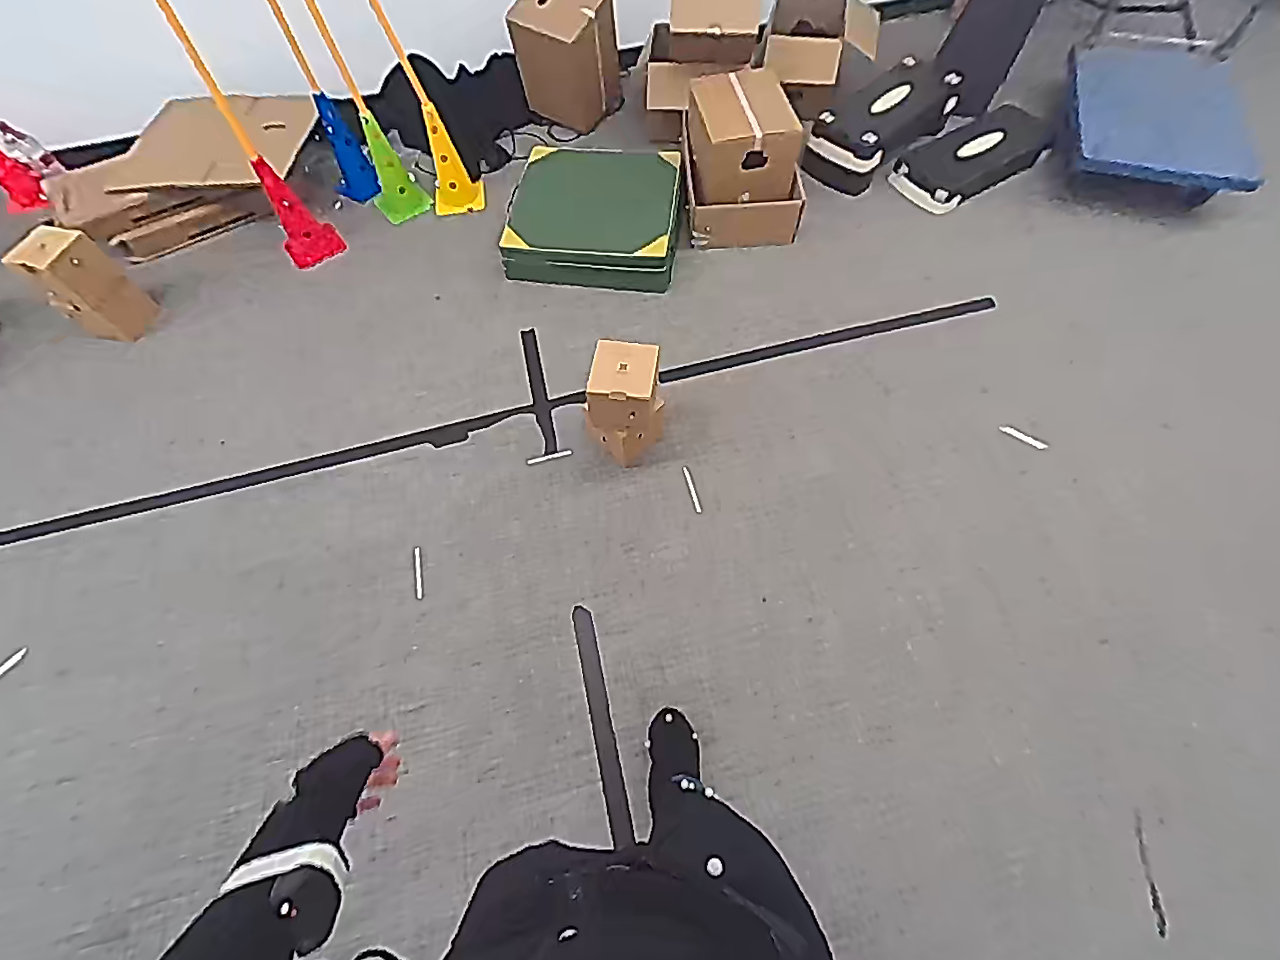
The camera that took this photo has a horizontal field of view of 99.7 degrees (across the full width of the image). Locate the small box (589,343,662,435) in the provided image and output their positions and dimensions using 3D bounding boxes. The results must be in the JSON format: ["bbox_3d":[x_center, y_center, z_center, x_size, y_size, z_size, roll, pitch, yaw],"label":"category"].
[{"bbox_3d":[-0.033,-0.240,1.458,0.168,0.176,0.179,8,62,5],"label":"small box"}]

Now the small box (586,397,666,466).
[{"bbox_3d":[-0.034,-0.172,1.610,0.168,0.176,0.179,39,69,20],"label":"small box"}]
